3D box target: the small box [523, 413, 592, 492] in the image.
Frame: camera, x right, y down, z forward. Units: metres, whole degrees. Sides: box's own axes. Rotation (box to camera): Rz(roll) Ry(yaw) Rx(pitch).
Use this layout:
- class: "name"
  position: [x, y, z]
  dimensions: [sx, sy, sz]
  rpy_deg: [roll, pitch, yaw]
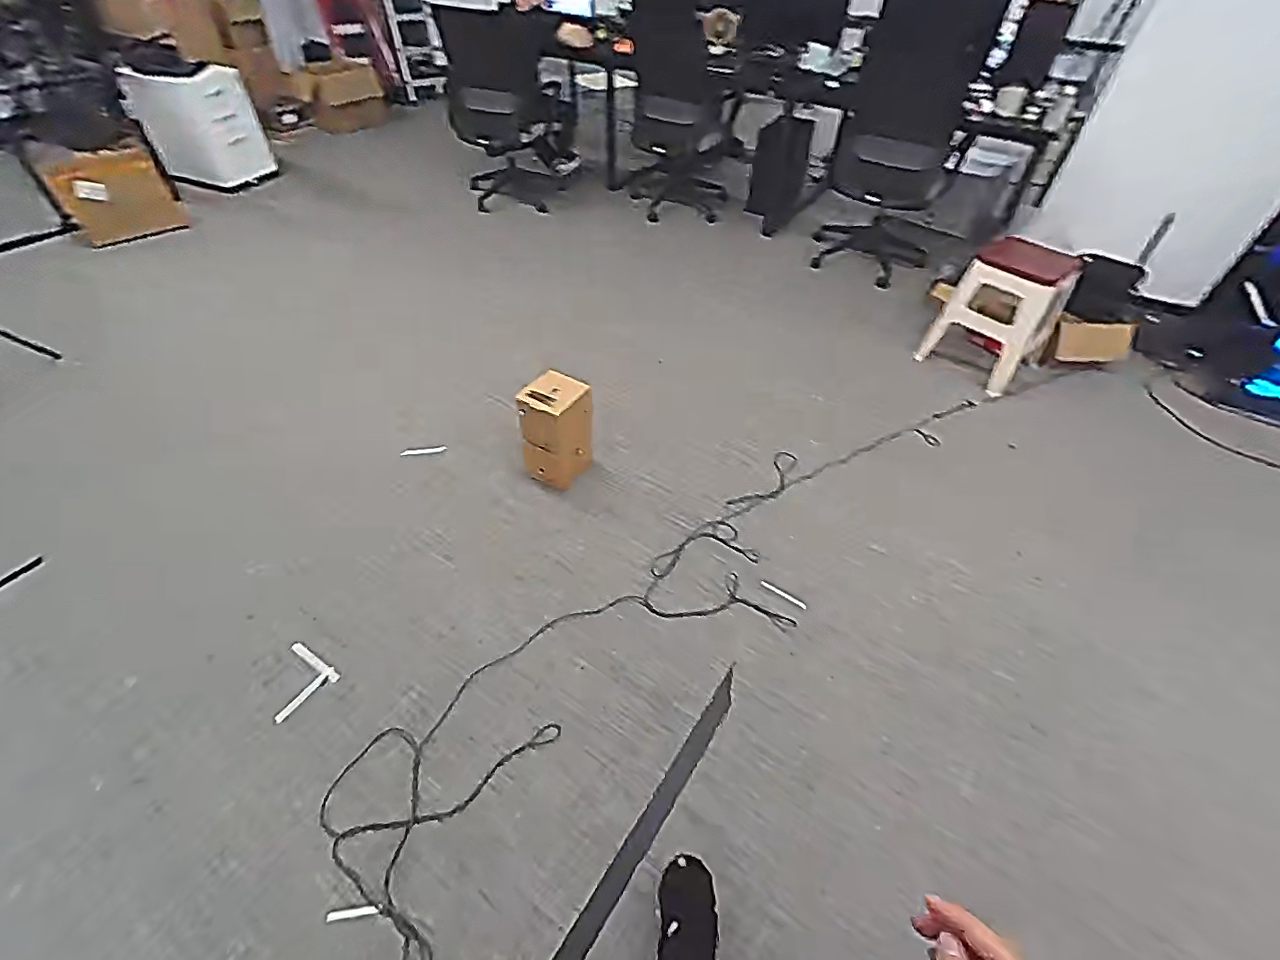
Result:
- class: "small box"
  position: [-0.276, -0.093, 1.844]
  dimensions: [0.168, 0.176, 0.179]
  rpy_deg: [21, 50, 18]
